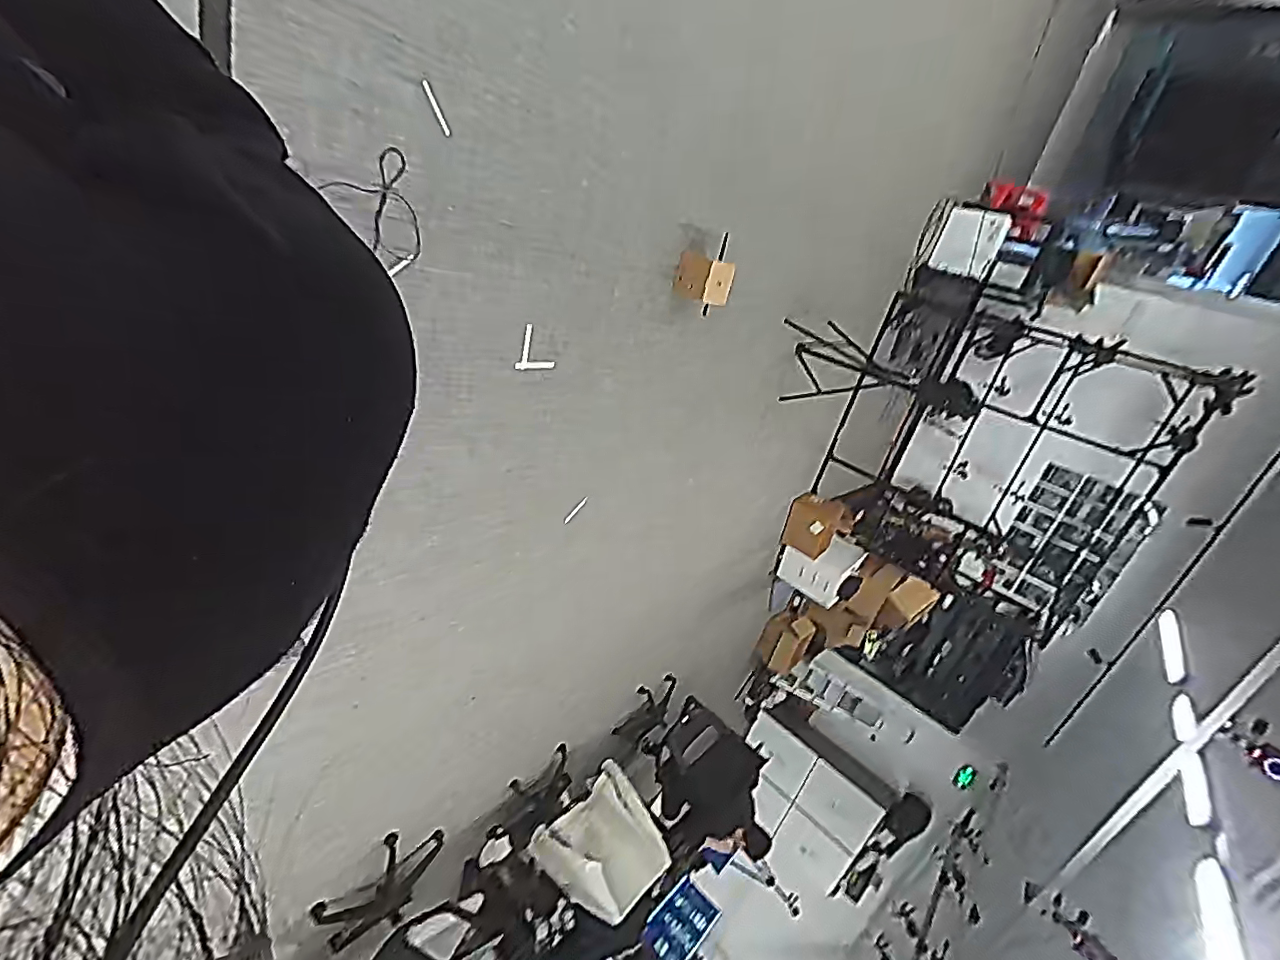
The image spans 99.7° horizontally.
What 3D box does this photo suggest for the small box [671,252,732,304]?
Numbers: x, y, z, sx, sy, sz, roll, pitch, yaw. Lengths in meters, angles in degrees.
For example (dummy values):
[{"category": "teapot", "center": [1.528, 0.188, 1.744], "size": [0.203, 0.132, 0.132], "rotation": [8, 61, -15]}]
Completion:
[{"category": "small box", "center": [0.254, -0.854, 2.284], "size": [0.179, 0.176, 0.168], "rotation": [-17, 130, -47]}]
